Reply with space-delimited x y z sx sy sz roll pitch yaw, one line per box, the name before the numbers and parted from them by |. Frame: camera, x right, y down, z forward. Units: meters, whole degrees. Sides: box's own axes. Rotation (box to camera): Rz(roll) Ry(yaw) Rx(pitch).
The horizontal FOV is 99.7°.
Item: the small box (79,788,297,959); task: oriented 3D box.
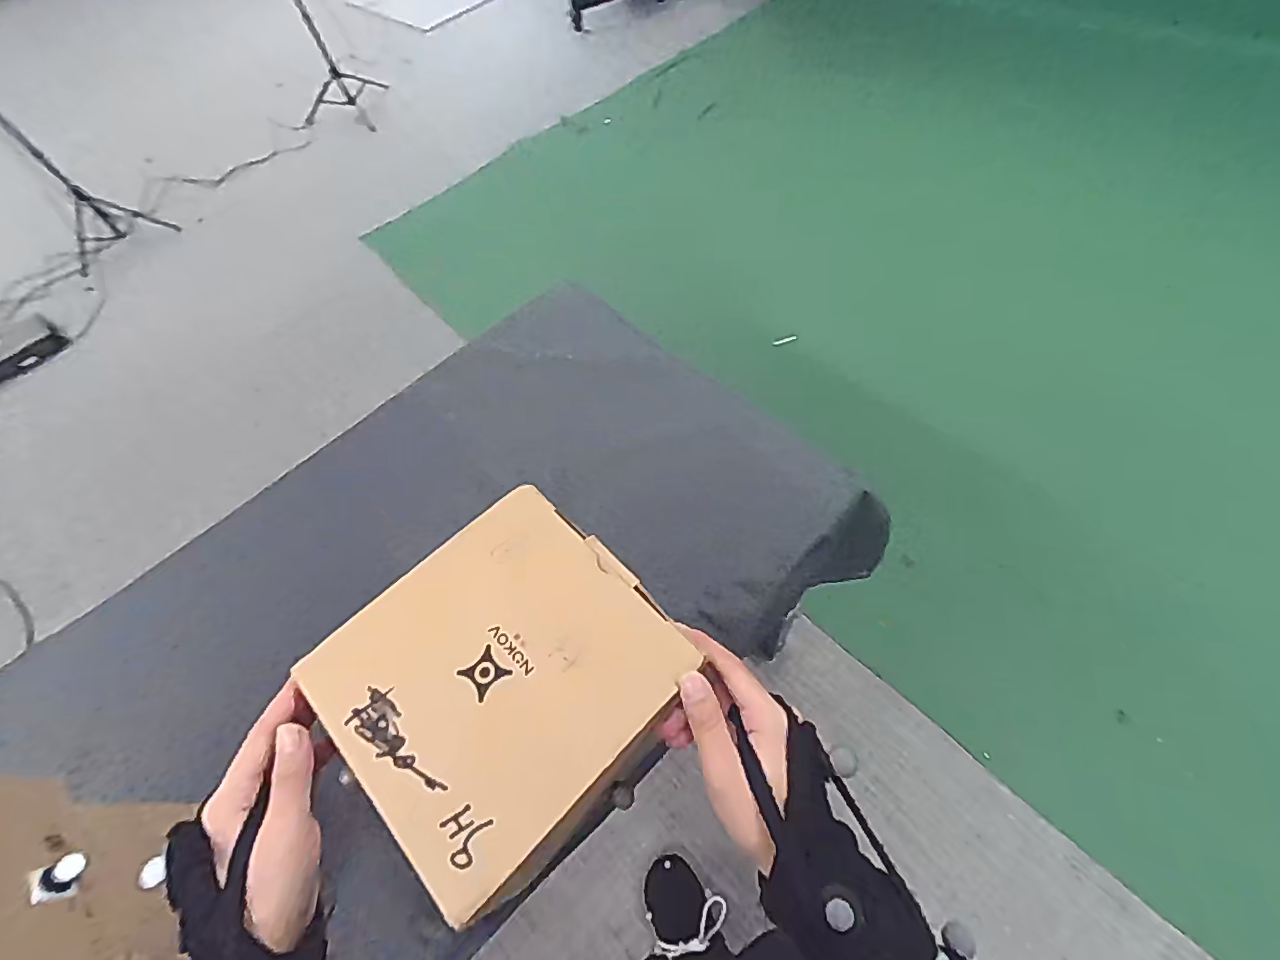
small box | -0.430 0.379 0.428 0.179 0.176 0.168 30 68 22
